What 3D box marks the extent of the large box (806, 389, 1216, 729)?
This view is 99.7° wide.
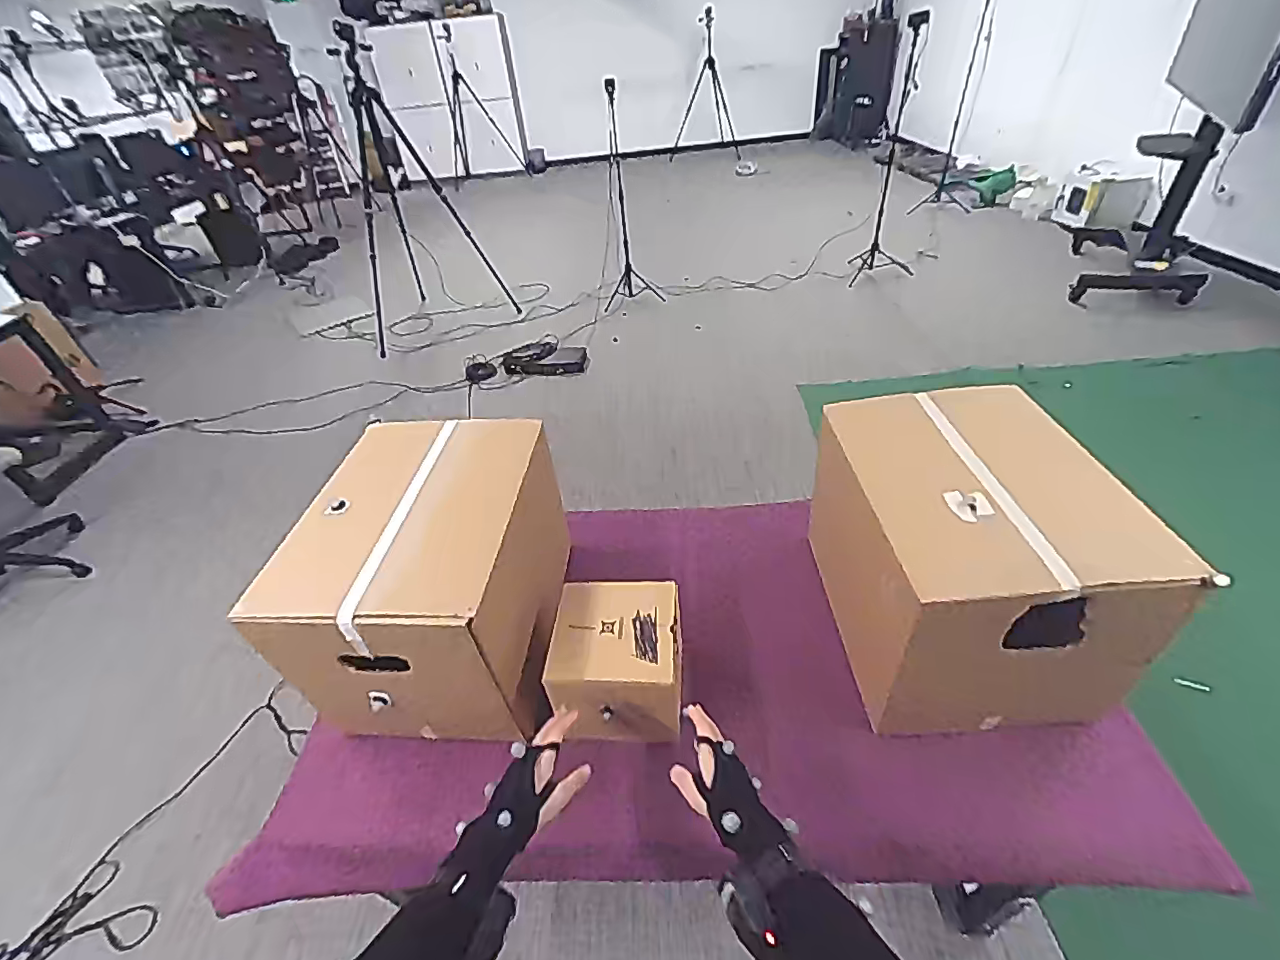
[{"bbox_3d":[0.468,0.106,0.823,0.320,0.320,0.408,-6,40,4],"label":"large box"}]
